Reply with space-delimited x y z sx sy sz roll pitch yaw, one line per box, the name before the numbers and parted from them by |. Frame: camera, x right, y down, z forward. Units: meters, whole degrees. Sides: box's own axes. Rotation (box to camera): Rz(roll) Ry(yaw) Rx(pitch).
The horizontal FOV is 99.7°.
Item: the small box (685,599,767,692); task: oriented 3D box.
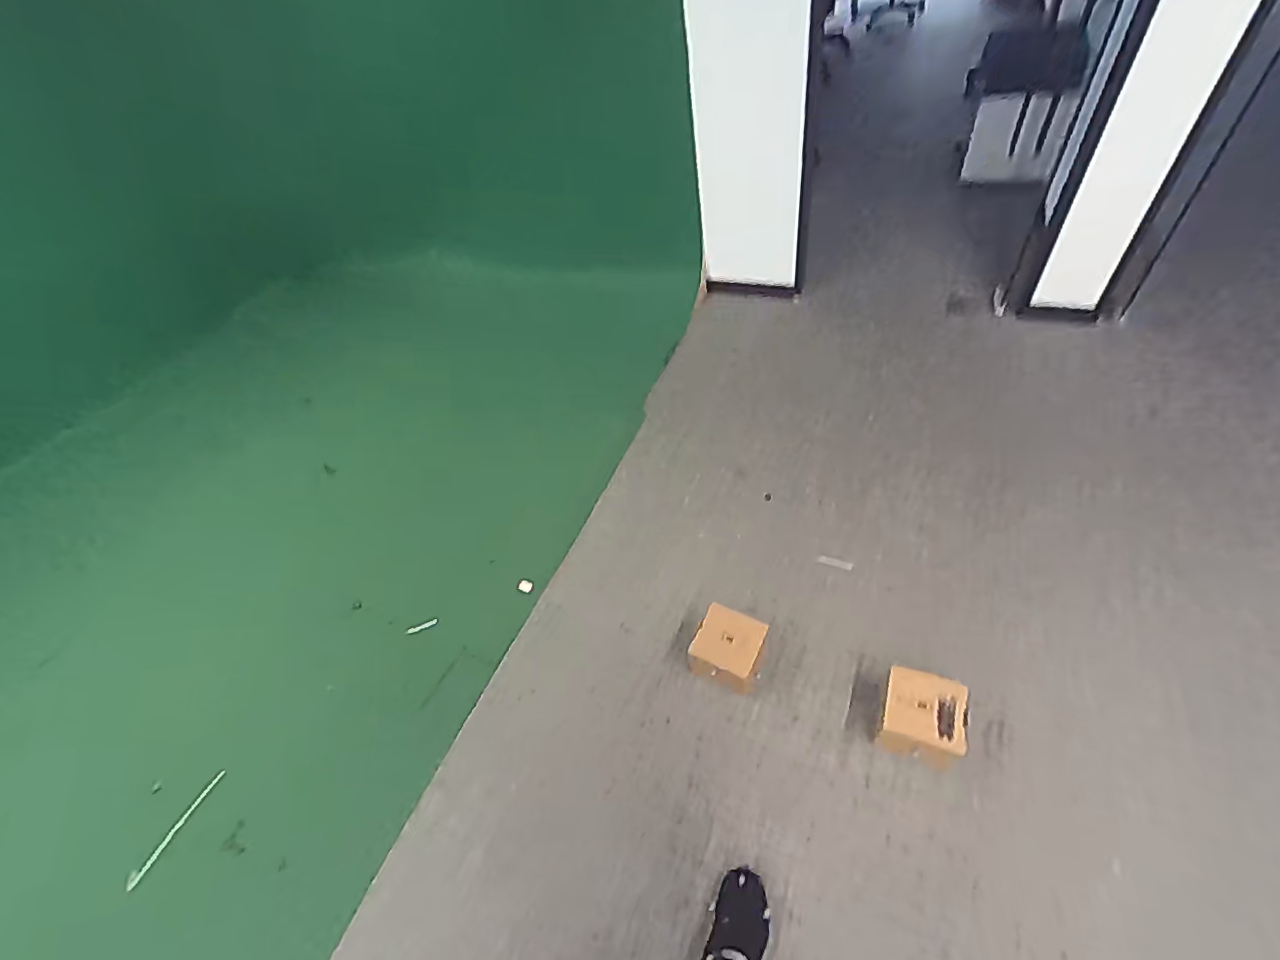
small box | 0.248 0.476 1.538 0.179 0.176 0.168 20 58 25
